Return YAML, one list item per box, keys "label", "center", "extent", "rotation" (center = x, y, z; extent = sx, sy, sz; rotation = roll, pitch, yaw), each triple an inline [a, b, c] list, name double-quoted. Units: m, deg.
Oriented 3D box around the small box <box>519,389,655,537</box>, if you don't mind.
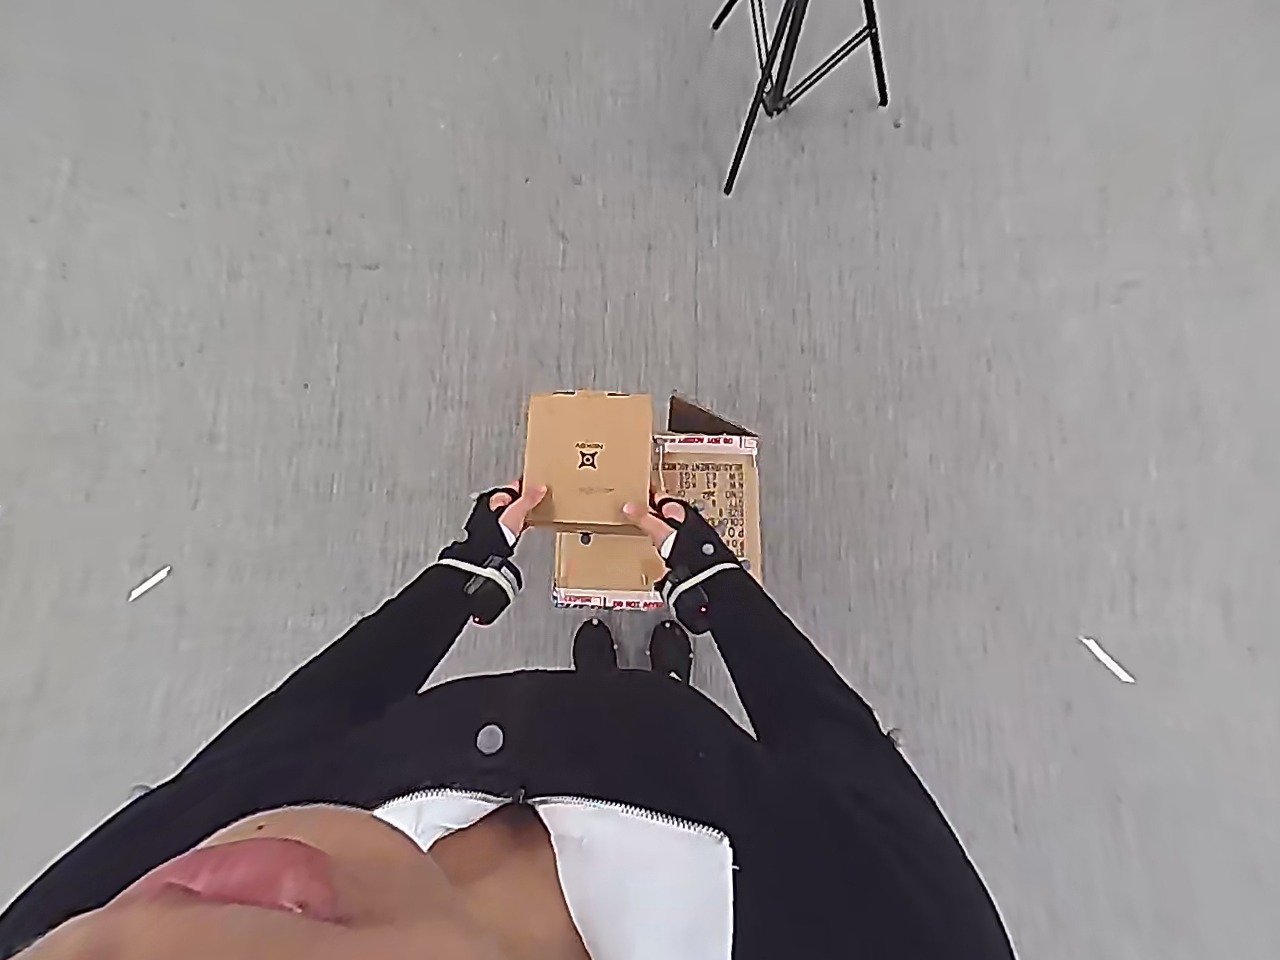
- label: "small box"
  center: [-0.066, -0.017, 0.772]
  extent: [0.168, 0.176, 0.179]
  rotation: [2, 79, 2]
